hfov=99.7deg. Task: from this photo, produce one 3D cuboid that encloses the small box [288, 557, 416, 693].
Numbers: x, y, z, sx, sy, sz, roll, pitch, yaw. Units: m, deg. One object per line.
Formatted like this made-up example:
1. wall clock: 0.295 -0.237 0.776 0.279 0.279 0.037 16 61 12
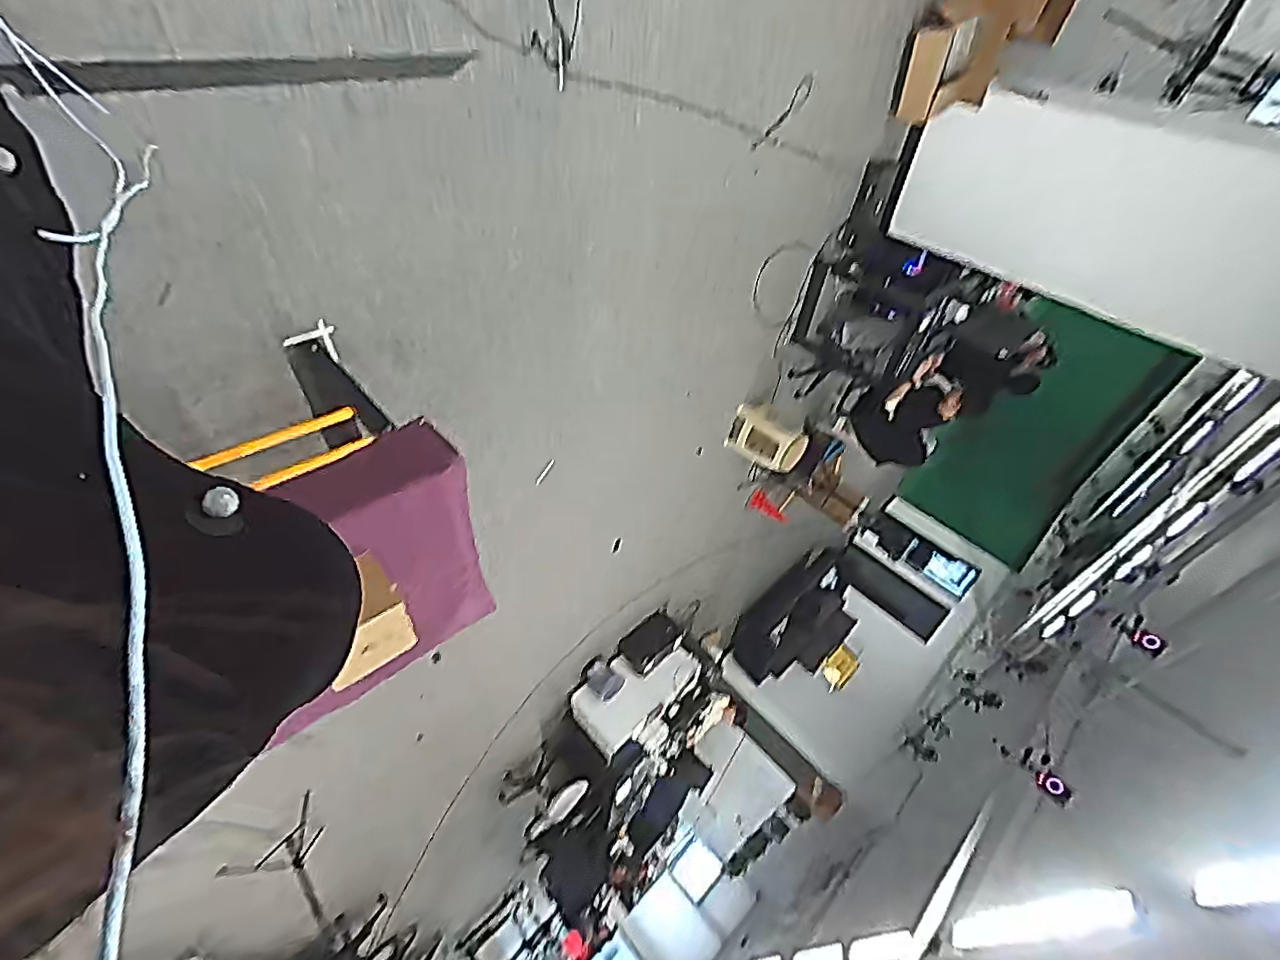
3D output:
1. small box: -0.602 0.297 1.128 0.179 0.176 0.168 -30 146 -33
